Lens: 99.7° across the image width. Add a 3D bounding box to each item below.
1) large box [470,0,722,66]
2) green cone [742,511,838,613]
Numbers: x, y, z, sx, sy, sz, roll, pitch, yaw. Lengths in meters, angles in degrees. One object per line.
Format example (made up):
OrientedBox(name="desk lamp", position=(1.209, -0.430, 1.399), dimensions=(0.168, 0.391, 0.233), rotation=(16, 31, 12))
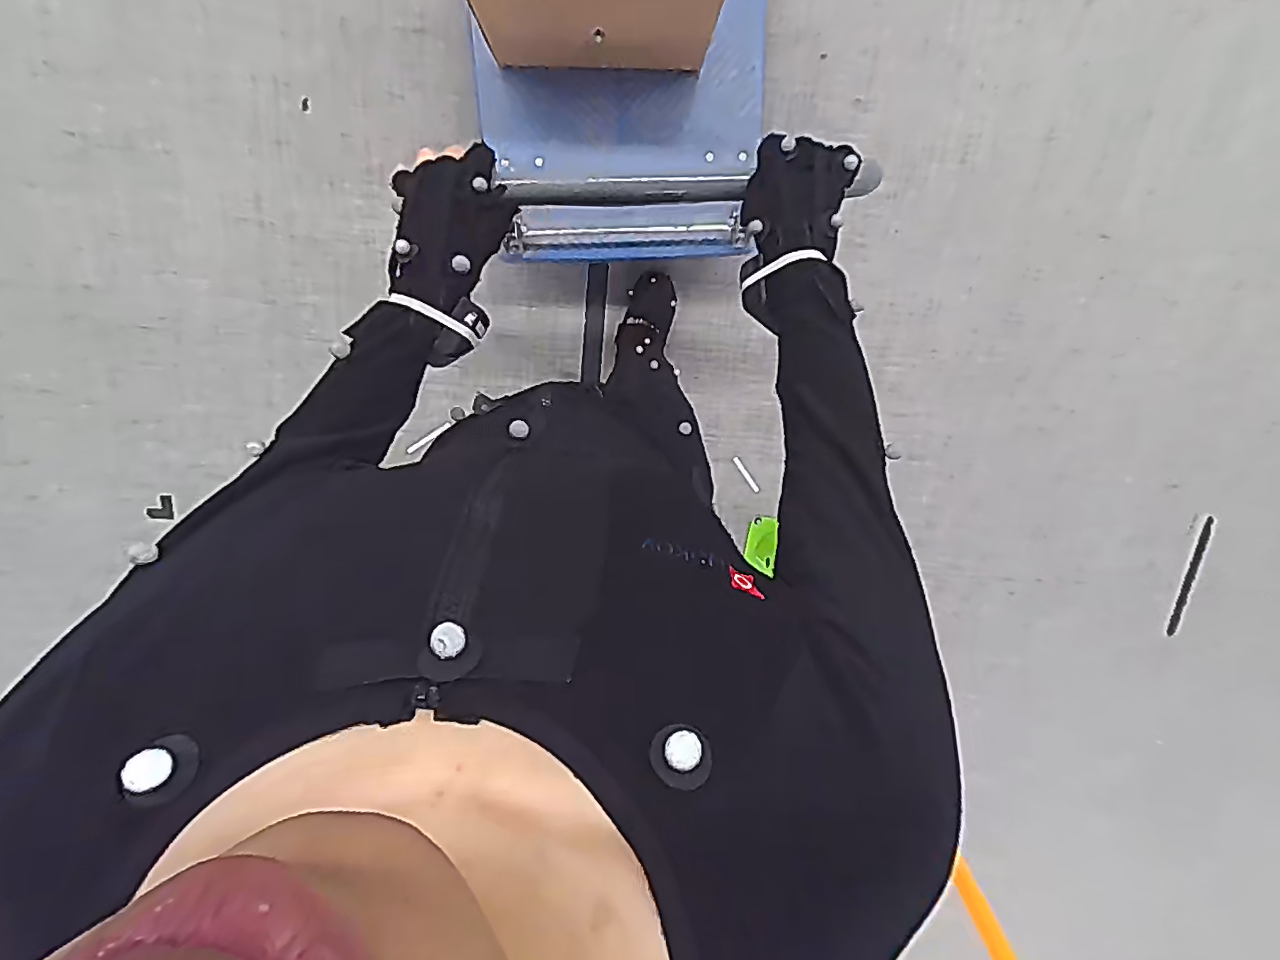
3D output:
OrientedBox(name="large box", position=(-0.072, -0.926, 0.893), dimensions=(0.408, 0.320, 0.320), rotation=(-1, 107, -1))
OrientedBox(name="green cone", position=(0.412, 0.238, 1.390), dimensions=(0.202, 0.368, 0.200), rotation=(7, 105, -5))
